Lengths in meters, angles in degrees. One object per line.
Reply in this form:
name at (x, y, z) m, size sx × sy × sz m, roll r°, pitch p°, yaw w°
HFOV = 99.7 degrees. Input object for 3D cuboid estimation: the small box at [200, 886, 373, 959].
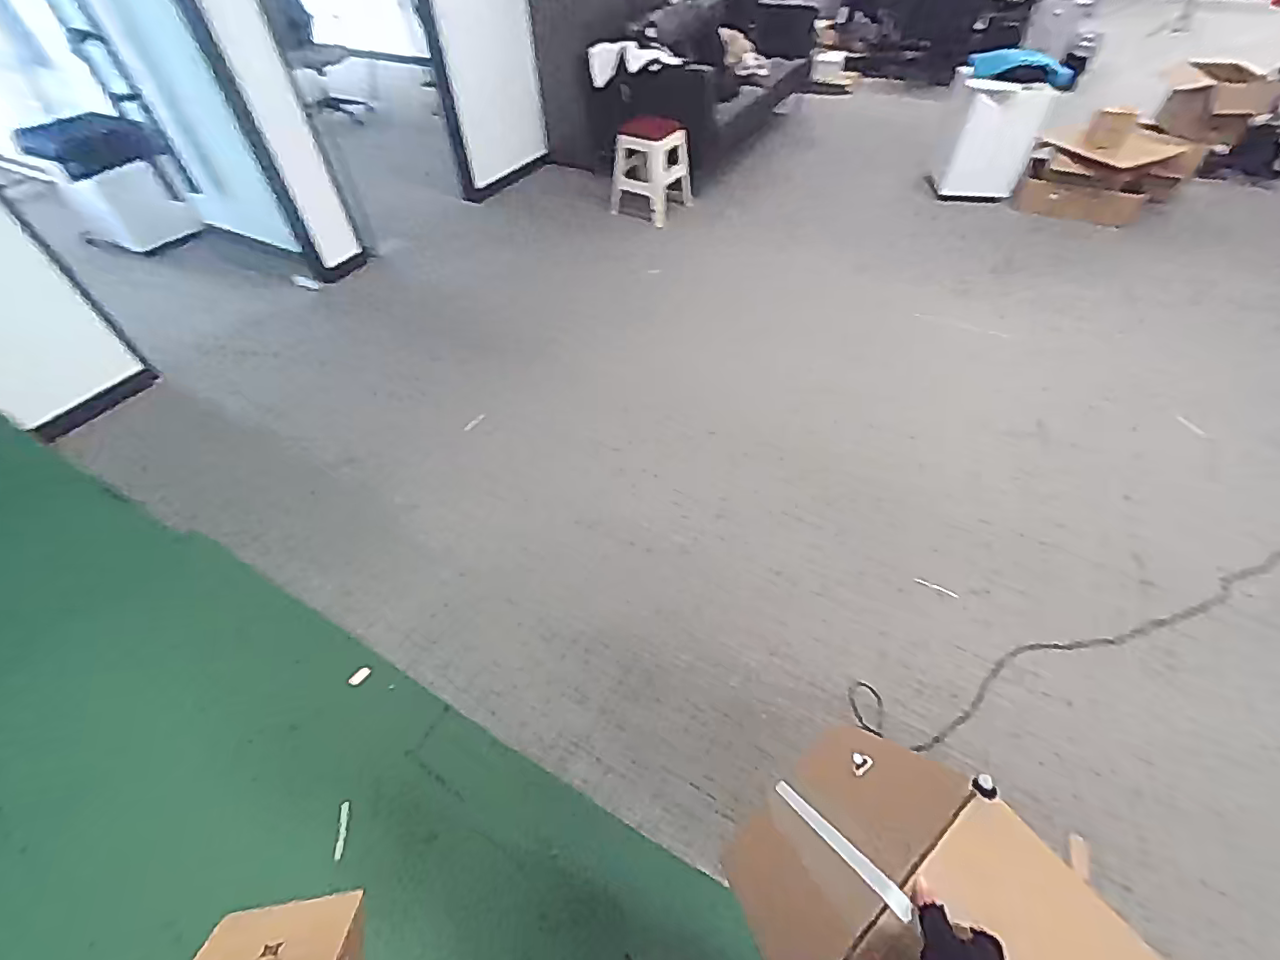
small box at (-0.425, 0.633, 0.635) m, size 0.168 × 0.179 × 0.176 m, roll -2°, pitch 87°, yaw -13°
